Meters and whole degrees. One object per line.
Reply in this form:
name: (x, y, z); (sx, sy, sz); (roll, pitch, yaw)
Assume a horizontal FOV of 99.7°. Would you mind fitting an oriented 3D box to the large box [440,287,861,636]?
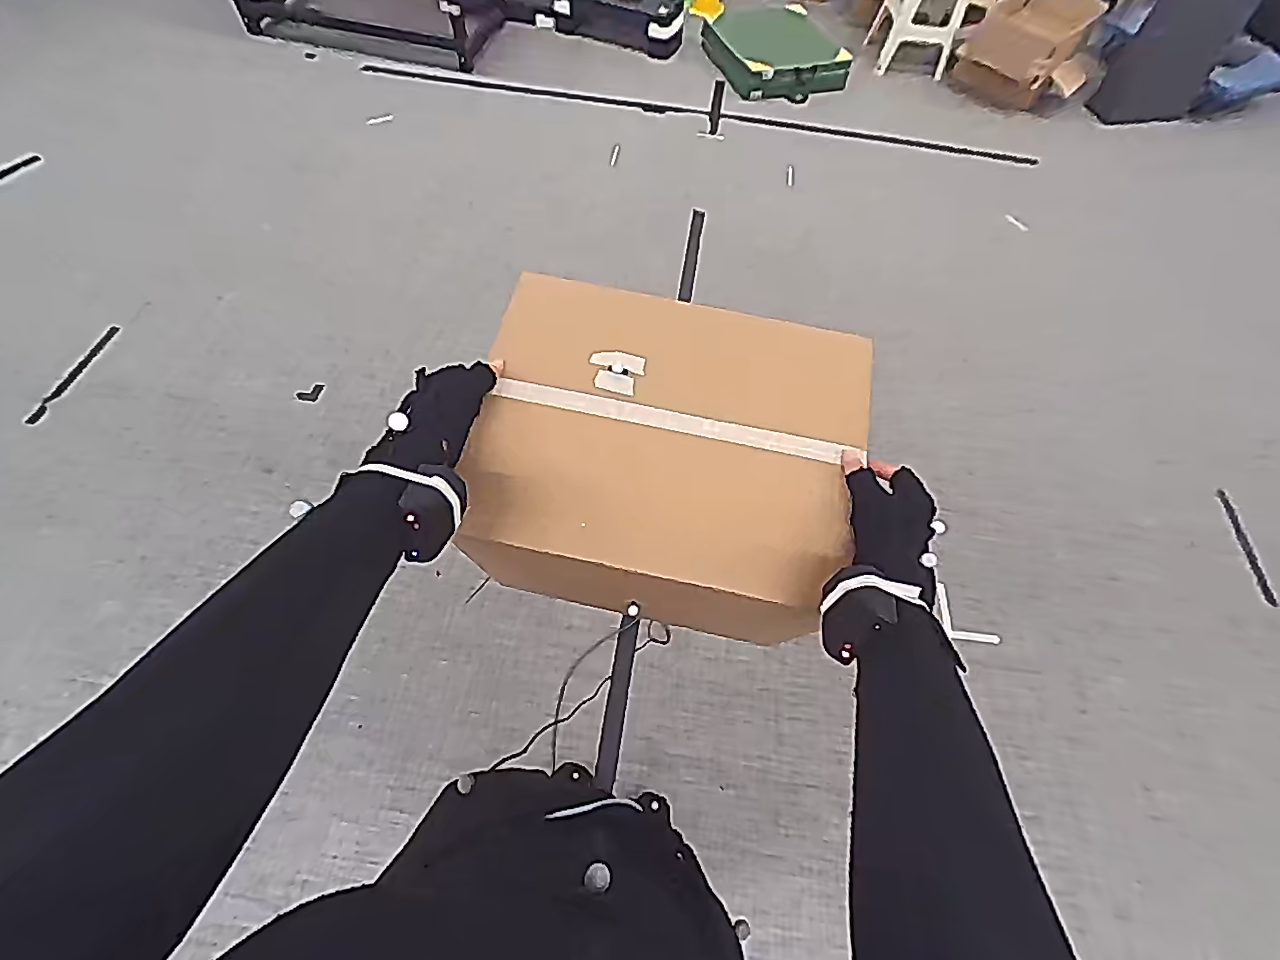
large box: (0.028, 0.001, 0.707); (0.408, 0.320, 0.320); (12, 68, 4)
